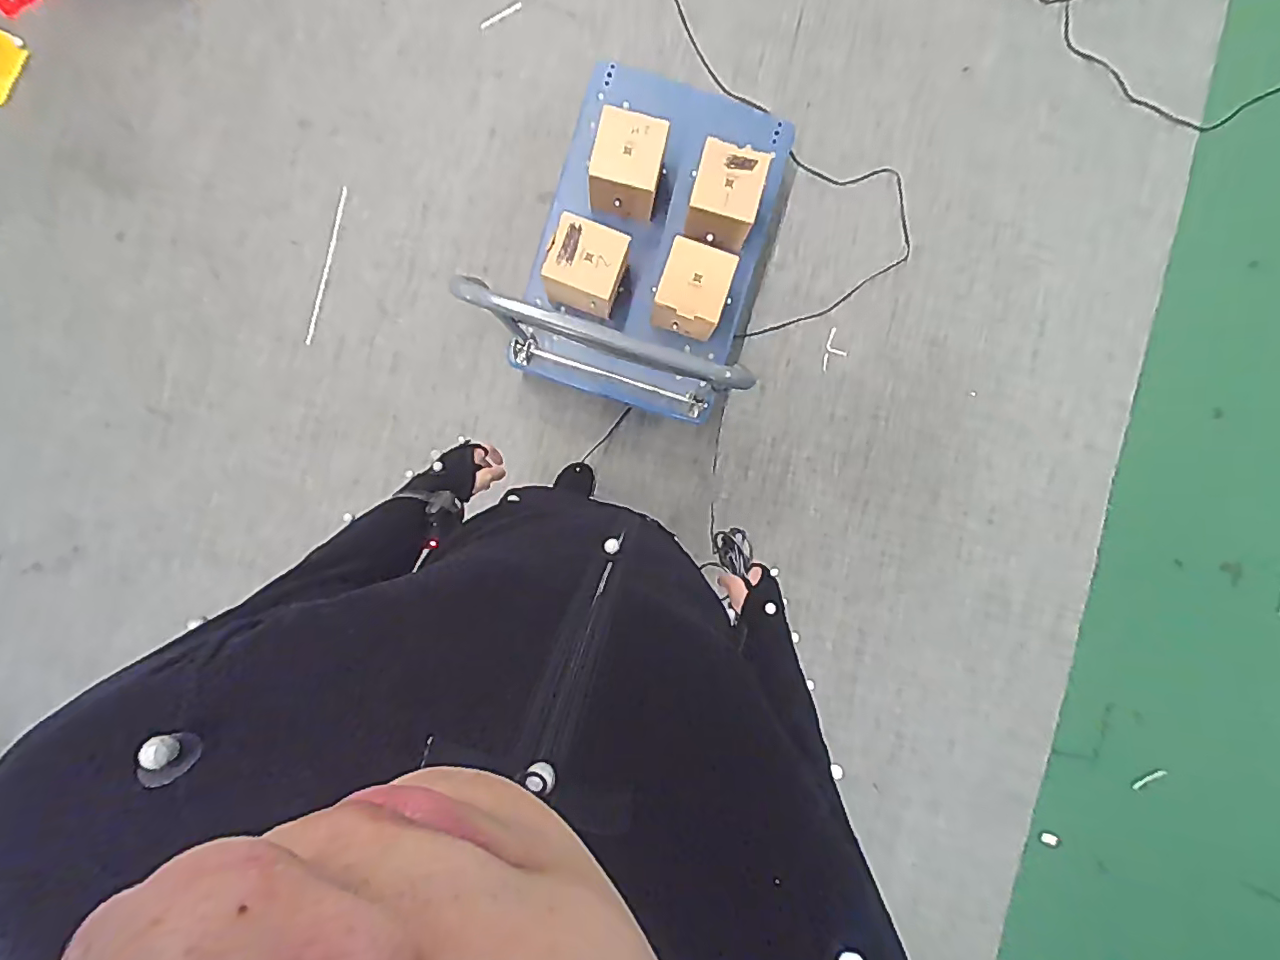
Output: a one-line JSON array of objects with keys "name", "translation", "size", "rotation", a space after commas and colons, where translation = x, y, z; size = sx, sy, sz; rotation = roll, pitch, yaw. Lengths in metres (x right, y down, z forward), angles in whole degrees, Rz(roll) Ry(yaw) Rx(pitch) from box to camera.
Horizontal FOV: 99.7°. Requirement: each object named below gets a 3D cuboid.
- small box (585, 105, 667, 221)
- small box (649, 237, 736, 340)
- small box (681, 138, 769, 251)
[{"name": "small box", "translation": [-0.037, -0.790, 1.369], "size": [0.168, 0.176, 0.179], "rotation": [13, 90, -4]}, {"name": "small box", "translation": [0.127, -0.481, 1.384], "size": [0.168, 0.176, 0.179], "rotation": [18, 91, -3]}, {"name": "small box", "translation": [0.208, -0.722, 1.383], "size": [0.168, 0.176, 0.179], "rotation": [16, 91, -3]}]
